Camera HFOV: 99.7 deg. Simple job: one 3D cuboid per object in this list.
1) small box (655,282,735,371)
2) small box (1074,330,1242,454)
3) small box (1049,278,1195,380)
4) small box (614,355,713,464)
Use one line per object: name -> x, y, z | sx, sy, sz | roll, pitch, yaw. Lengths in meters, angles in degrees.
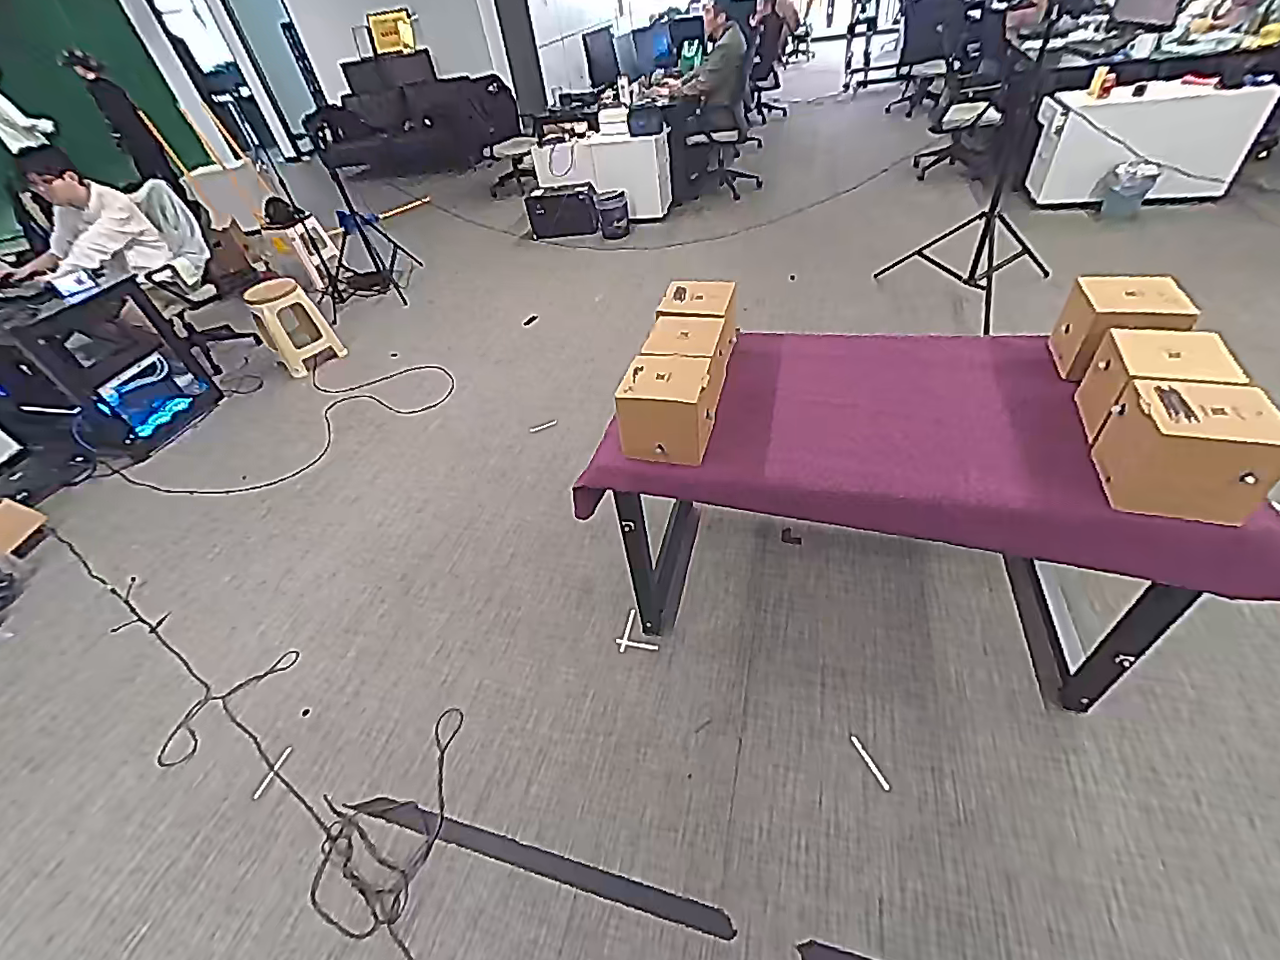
small box -> 0.151, -0.405, 1.430 | 0.179, 0.176, 0.168 | 8, 48, 17
small box -> 0.978, -0.169, 1.042 | 0.168, 0.176, 0.179 | 9, 45, 20
small box -> 1.037, -0.327, 1.189 | 0.179, 0.176, 0.168 | 7, 47, 16
small box -> 0.059, -0.152, 1.181 | 0.179, 0.176, 0.168 | 8, 44, 16
